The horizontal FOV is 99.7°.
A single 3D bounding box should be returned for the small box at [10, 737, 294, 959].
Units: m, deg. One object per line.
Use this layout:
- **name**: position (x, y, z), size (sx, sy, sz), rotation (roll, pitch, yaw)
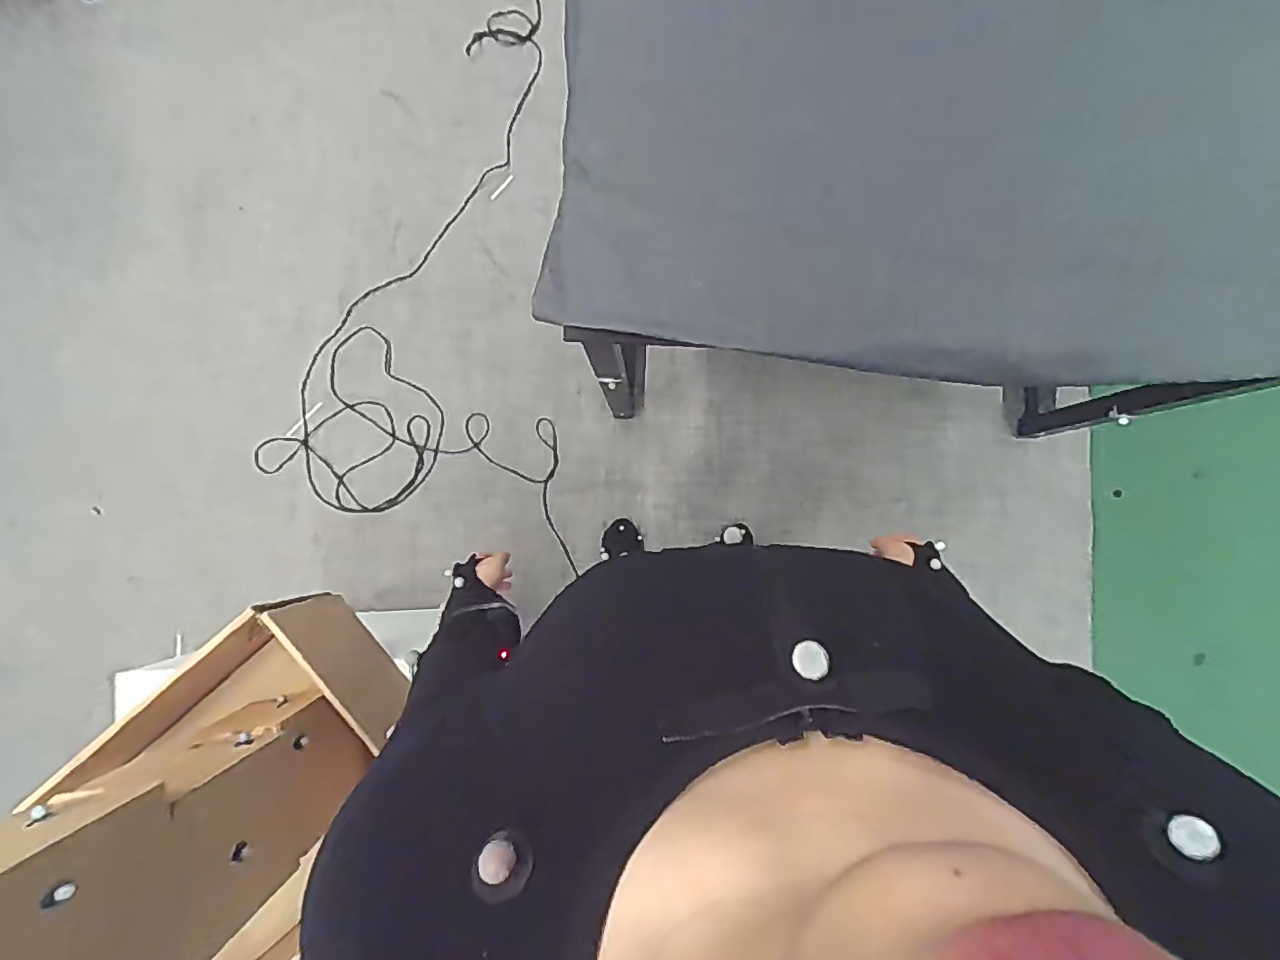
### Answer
- **small box**: position (-0.529, 0.411, 0.610), size (0.168, 0.176, 0.179), rotation (-7, 89, 2)
